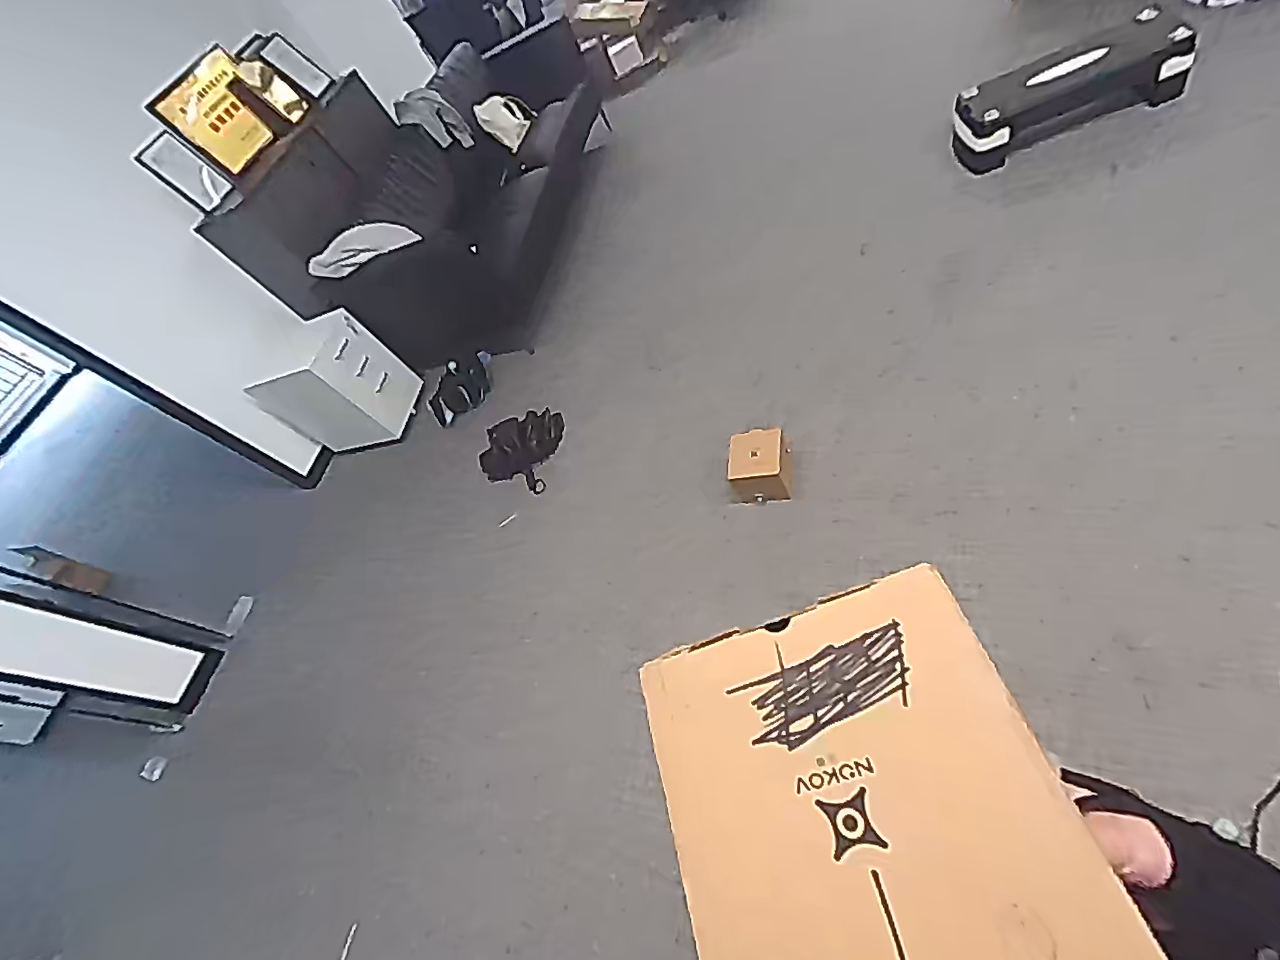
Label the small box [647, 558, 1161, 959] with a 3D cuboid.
[{"bbox_3d":[0.123,0.175,0.309,0.168,0.176,0.179,-24,54,13],"label":"small box"}]

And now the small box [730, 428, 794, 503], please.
[{"bbox_3d":[0.404,-0.043,1.772,0.168,0.176,0.179,-8,57,27],"label":"small box"}]
